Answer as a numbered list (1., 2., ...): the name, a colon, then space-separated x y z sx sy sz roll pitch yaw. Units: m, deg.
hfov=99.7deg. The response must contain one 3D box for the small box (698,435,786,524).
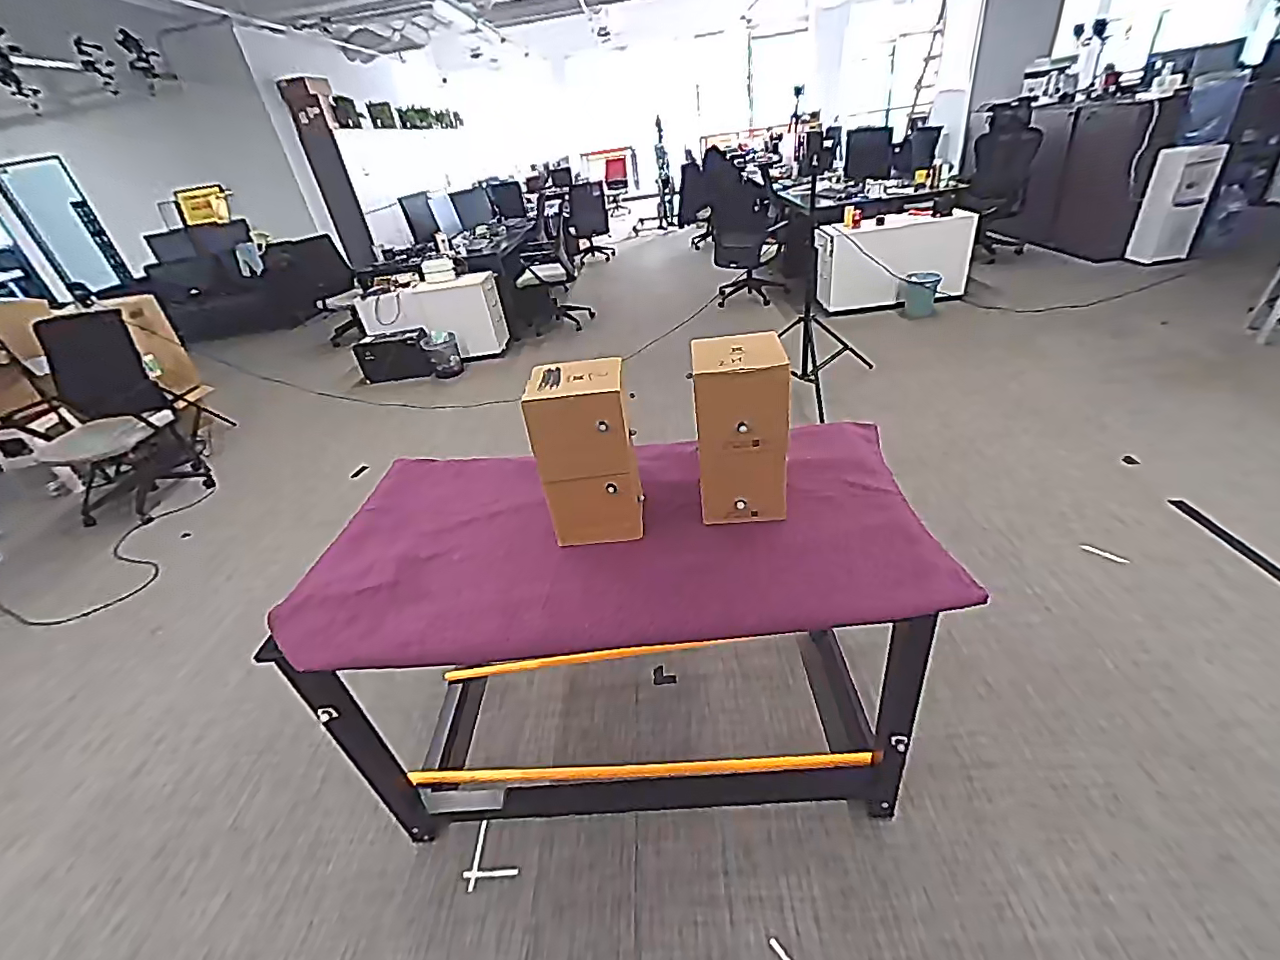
1. small box: 0.207 -0.027 1.124 0.168 0.176 0.179 -4 34 8

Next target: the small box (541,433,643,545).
1. small box: -0.092 0.020 1.126 0.179 0.176 0.168 -6 32 4

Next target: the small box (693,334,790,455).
1. small box: 0.189 -0.164 1.034 0.168 0.176 0.179 -5 33 8
